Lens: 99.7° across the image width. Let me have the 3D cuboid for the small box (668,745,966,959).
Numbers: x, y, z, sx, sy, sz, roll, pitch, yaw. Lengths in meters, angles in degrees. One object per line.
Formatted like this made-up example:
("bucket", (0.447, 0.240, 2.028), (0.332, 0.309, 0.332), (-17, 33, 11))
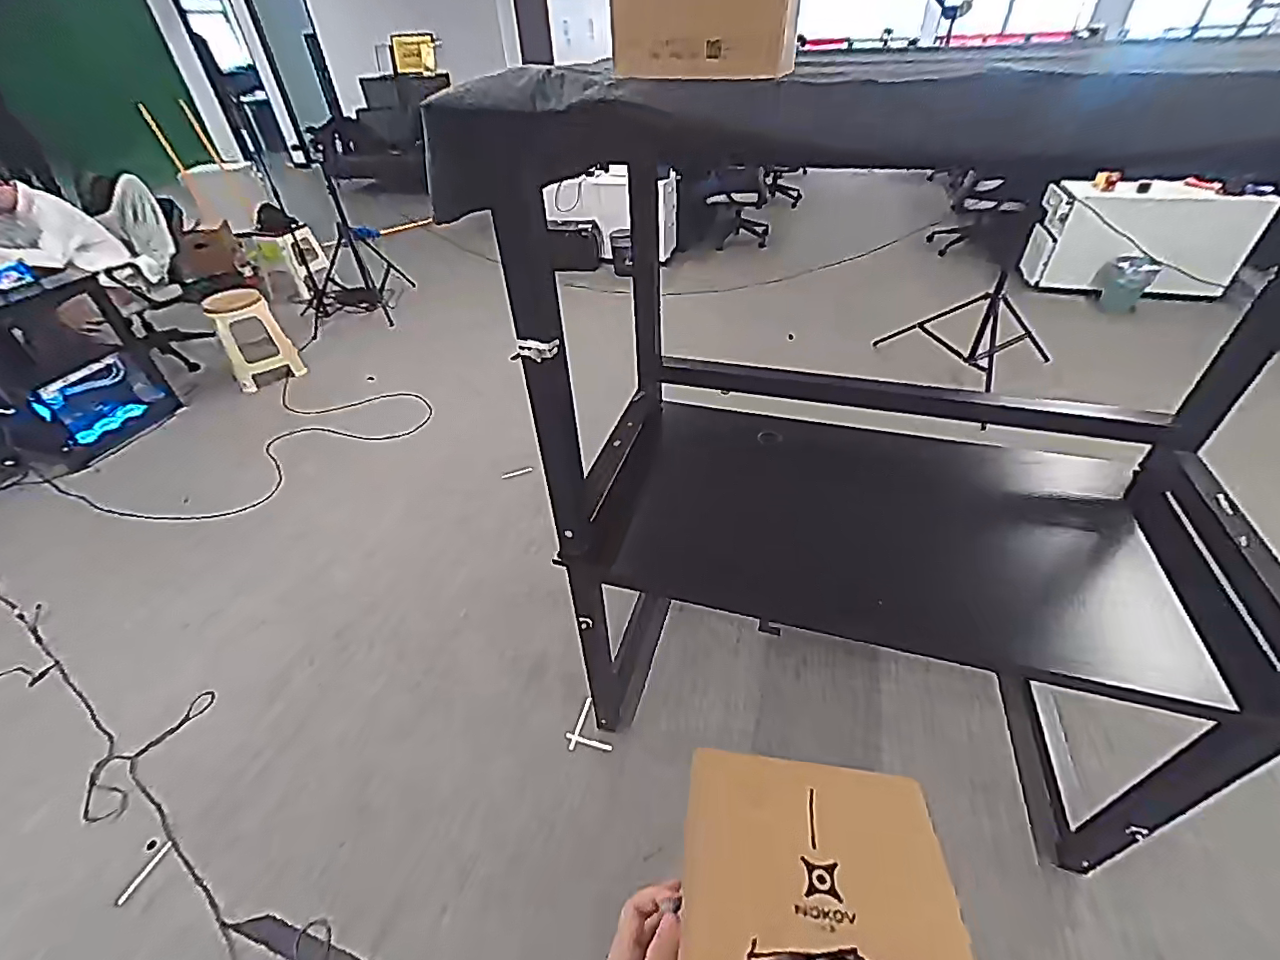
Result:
("small box", (0.105, 0.322, 0.373), (0.168, 0.176, 0.179), (5, 30, 6))

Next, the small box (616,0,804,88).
("small box", (0.076, -0.498, 0.540), (0.168, 0.176, 0.179), (10, 39, 14))
